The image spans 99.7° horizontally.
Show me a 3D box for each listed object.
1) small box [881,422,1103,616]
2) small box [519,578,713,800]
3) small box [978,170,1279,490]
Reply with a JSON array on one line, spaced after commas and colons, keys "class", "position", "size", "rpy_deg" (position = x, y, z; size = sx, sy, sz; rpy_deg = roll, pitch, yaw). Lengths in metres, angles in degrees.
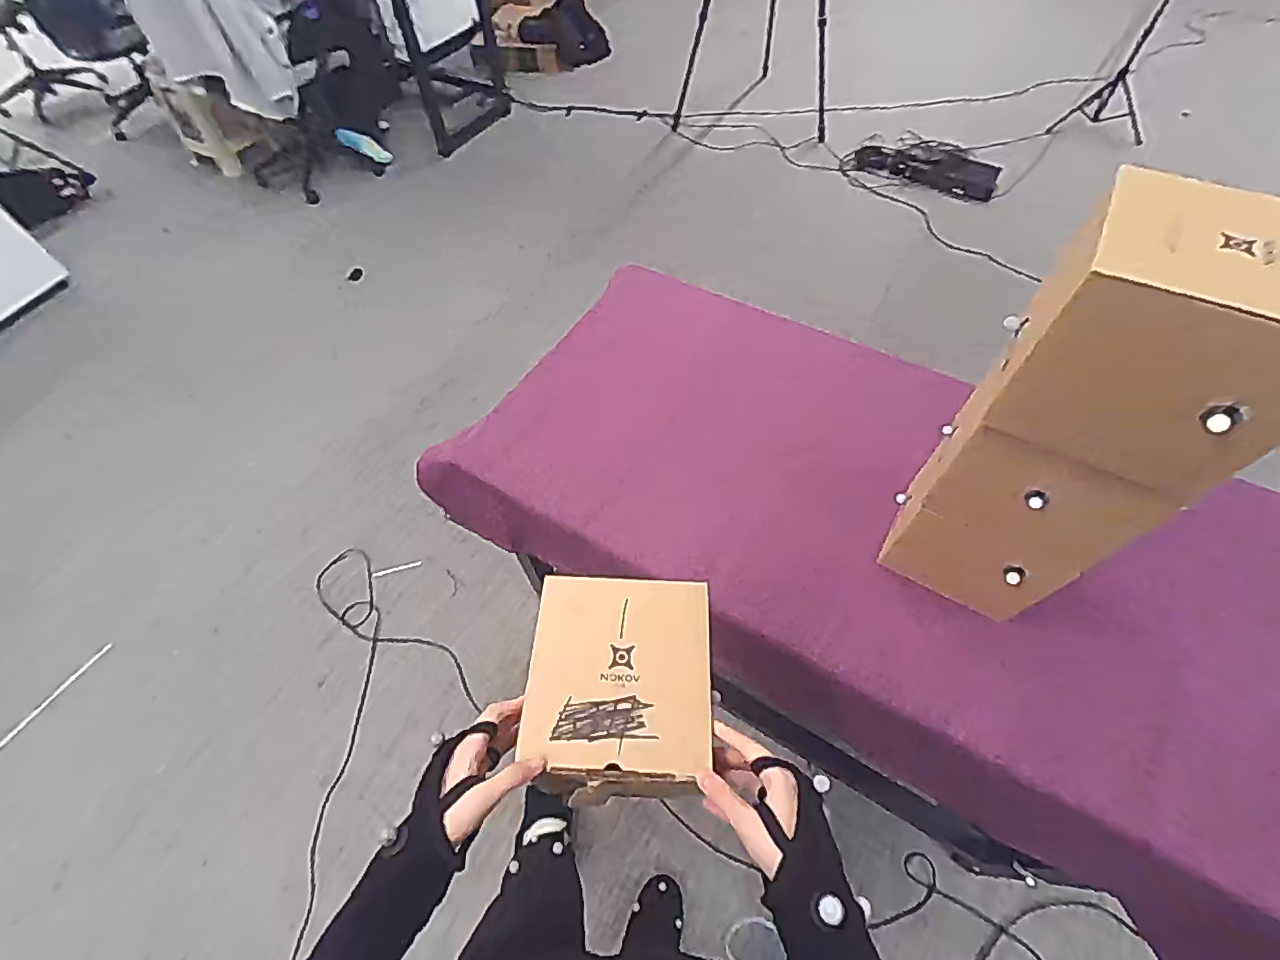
[{"class": "small box", "position": [0.459, 0.060, 0.726], "size": [0.179, 0.176, 0.168], "rpy_deg": [27, 62, 19]}, {"class": "small box", "position": [-0.014, 0.219, 0.558], "size": [0.168, 0.176, 0.179], "rpy_deg": [3, 53, 2]}, {"class": "small box", "position": [0.429, -0.116, 0.451], "size": [0.179, 0.176, 0.168], "rpy_deg": [27, 61, 19]}]
